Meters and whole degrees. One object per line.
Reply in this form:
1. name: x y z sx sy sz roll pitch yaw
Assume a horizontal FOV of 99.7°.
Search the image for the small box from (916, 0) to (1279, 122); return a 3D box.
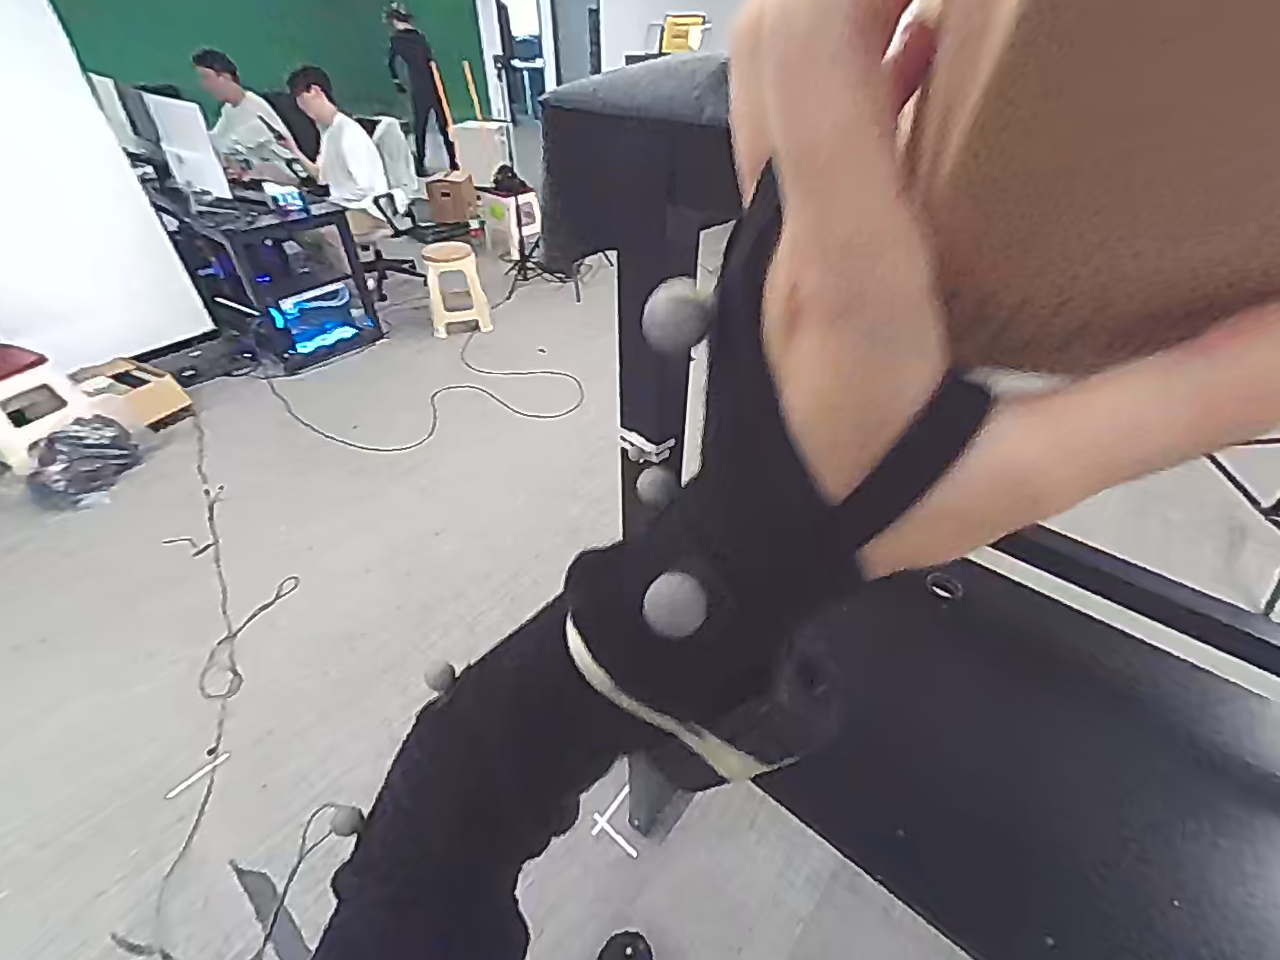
1. small box: 0.264 -0.289 0.262 0.168 0.176 0.179 30 47 27
